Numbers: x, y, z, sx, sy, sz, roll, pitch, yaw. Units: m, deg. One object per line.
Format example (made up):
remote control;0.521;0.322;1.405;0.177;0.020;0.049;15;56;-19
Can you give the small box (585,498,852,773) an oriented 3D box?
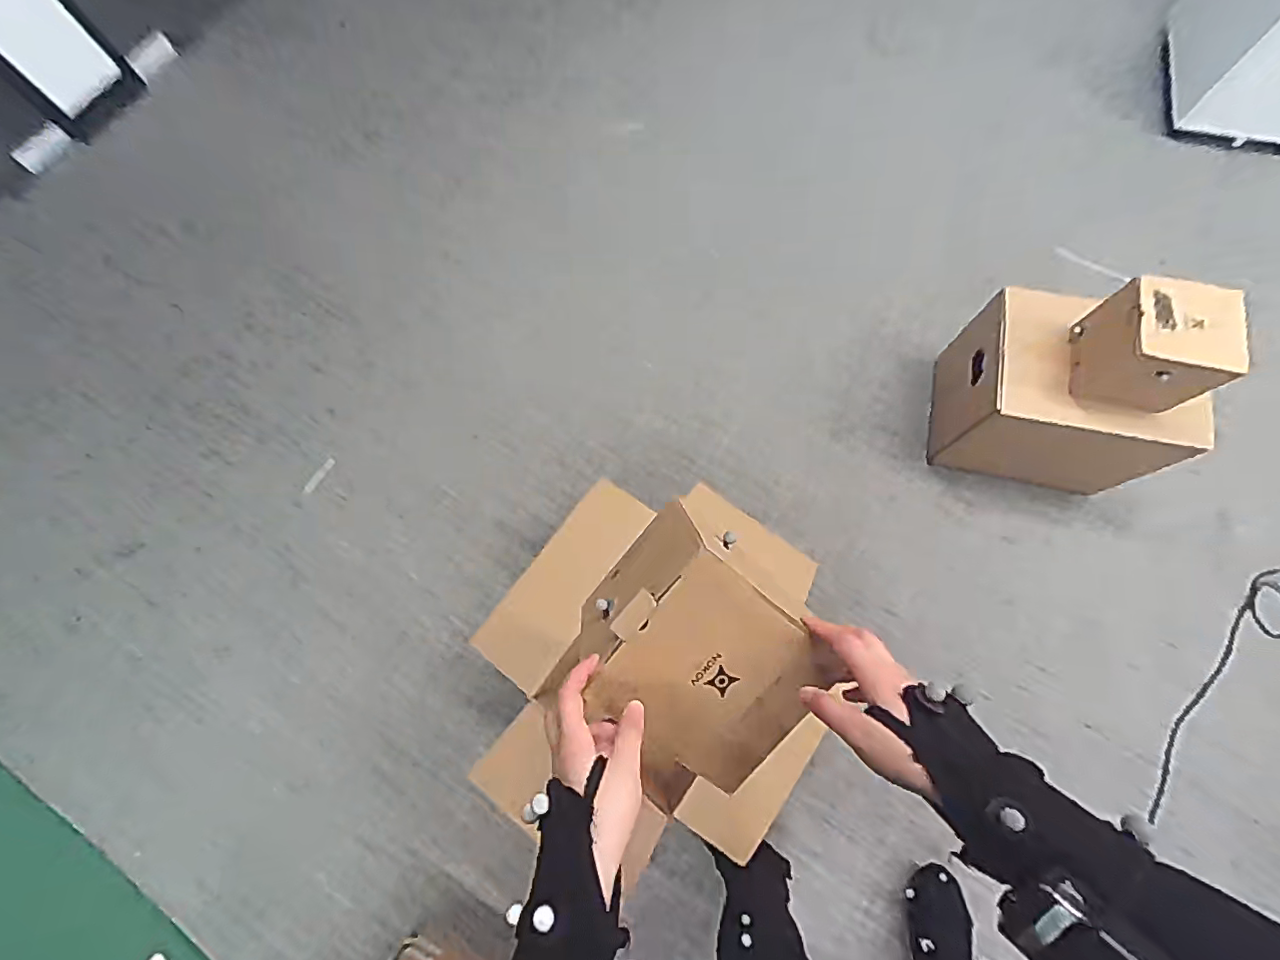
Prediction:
small box;0.061;0.135;0.537;0.179;0.176;0.168;37;98;-12

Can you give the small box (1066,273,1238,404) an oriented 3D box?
small box;0.954;-0.260;1.026;0.179;0.176;0.168;12;74;6
